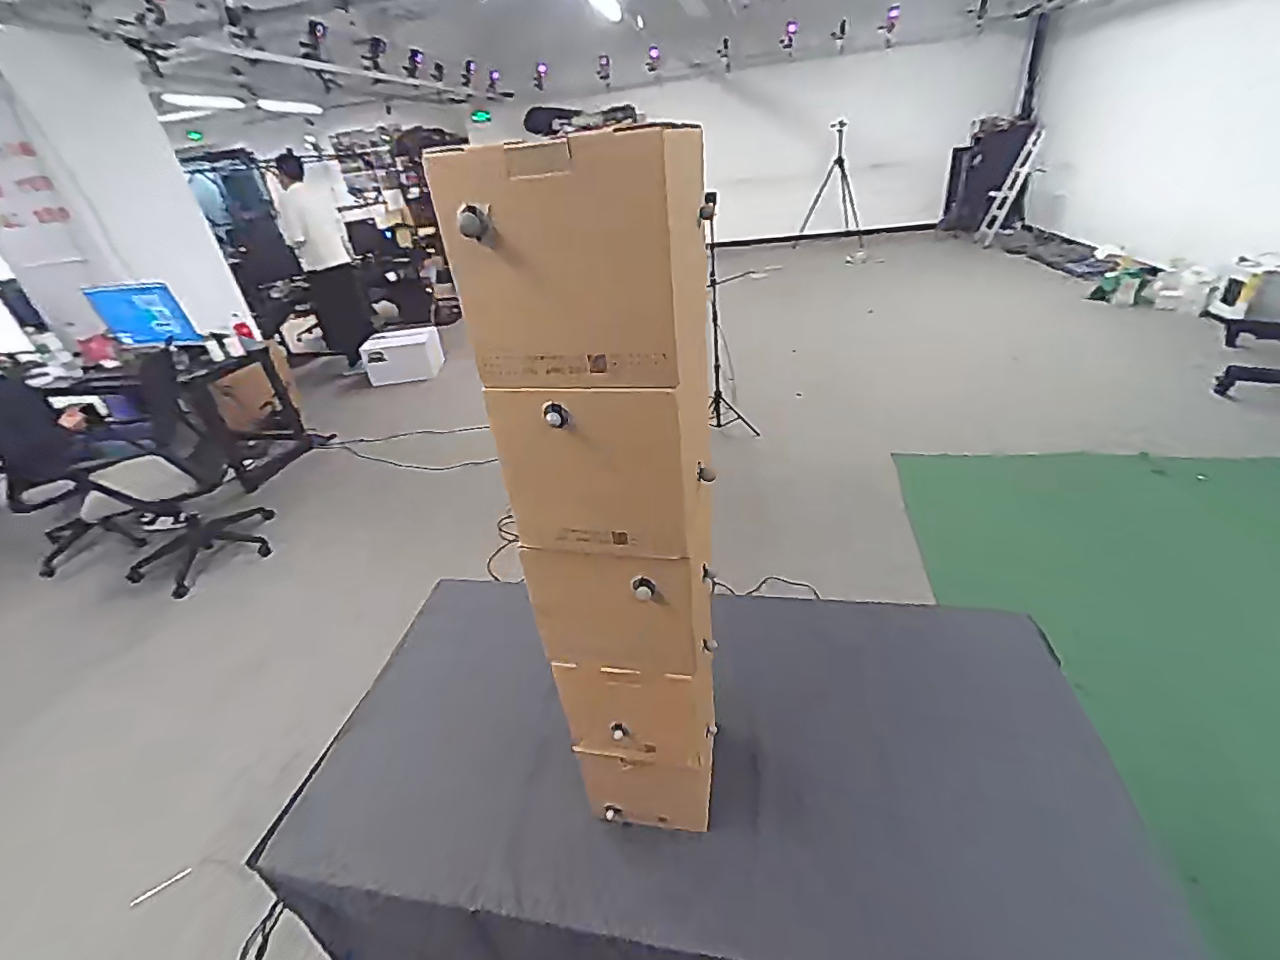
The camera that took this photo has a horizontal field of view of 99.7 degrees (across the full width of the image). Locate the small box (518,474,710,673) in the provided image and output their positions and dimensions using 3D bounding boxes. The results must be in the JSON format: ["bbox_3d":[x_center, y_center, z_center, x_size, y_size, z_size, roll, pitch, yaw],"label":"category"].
[{"bbox_3d":[-0.014,0.100,0.626,0.179,0.176,0.168,1,32,13],"label":"small box"}]

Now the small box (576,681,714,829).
[{"bbox_3d":[0.019,0.377,0.796,0.168,0.176,0.179,0,30,12],"label":"small box"}]

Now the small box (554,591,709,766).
[{"bbox_3d":[0.002,0.239,0.713,0.168,0.176,0.179,0,32,12],"label":"small box"}]

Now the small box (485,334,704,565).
[{"bbox_3d":[-0.027,-0.039,0.542,0.168,0.176,0.179,2,32,14],"label":"small box"}]
